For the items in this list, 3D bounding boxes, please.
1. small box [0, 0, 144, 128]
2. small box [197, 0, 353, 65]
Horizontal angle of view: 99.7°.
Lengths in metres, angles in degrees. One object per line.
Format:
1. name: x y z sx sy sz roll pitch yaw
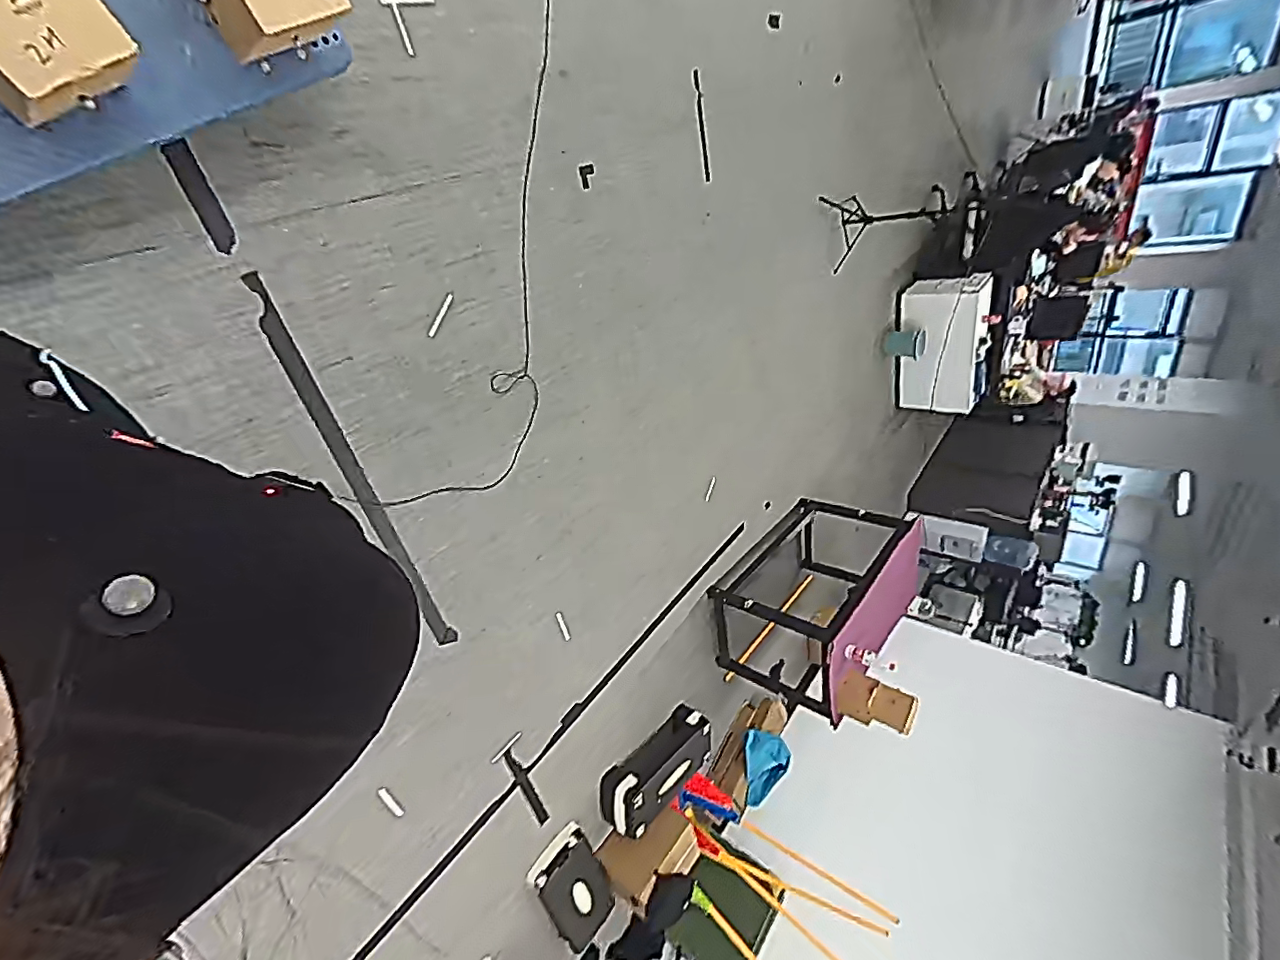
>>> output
1. small box: -0.864 -0.635 0.755 0.168 0.176 0.179 -53 135 -25
2. small box: -0.652 -0.860 0.938 0.179 0.176 0.168 -48 133 -28
